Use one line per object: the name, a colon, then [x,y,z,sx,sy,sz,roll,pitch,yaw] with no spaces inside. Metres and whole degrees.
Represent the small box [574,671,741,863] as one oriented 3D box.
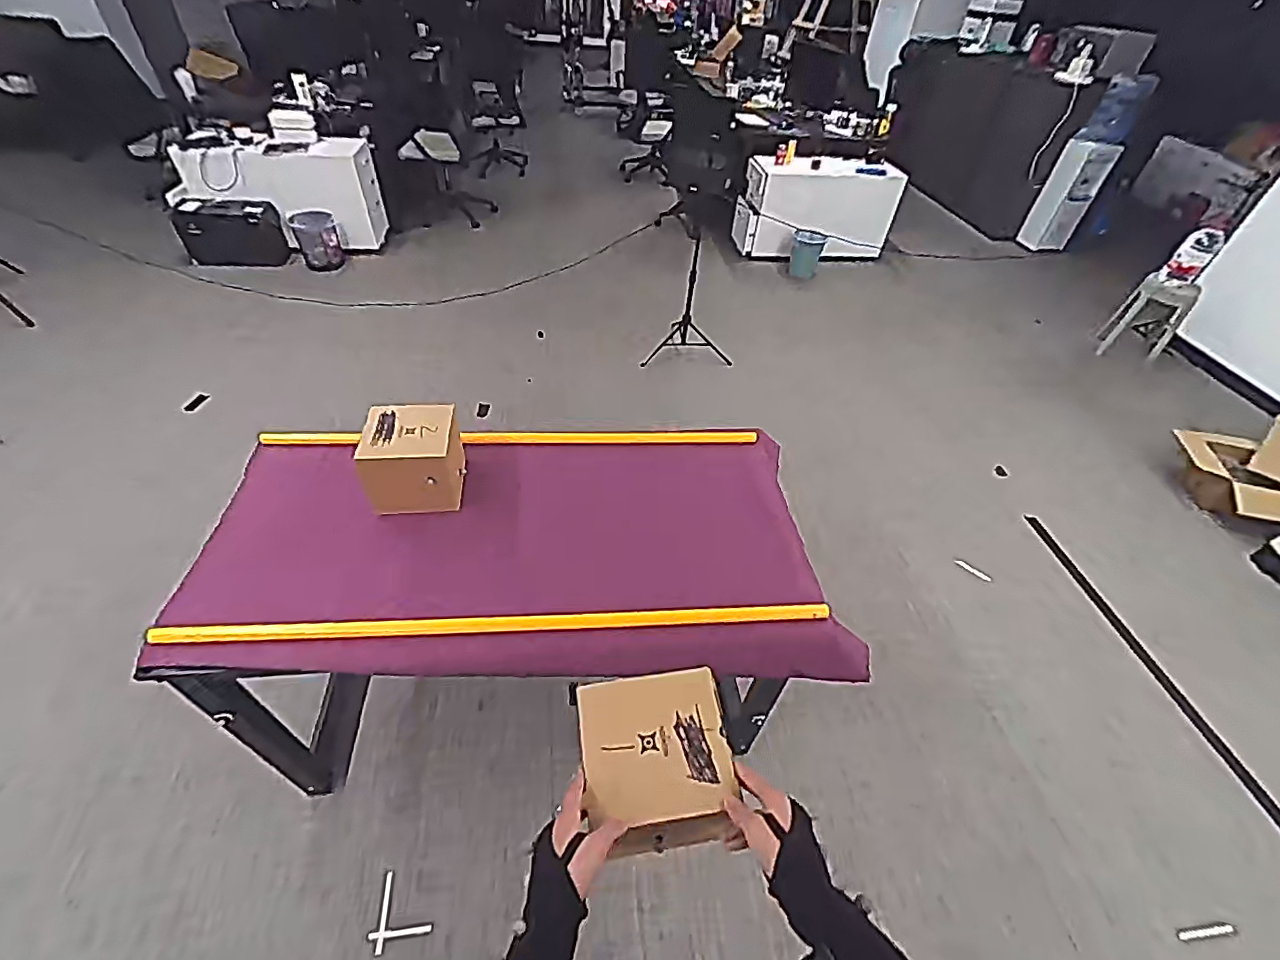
small box: [0.012,0.366,0.689,0.179,0.176,0.168,-6,47,-7]
